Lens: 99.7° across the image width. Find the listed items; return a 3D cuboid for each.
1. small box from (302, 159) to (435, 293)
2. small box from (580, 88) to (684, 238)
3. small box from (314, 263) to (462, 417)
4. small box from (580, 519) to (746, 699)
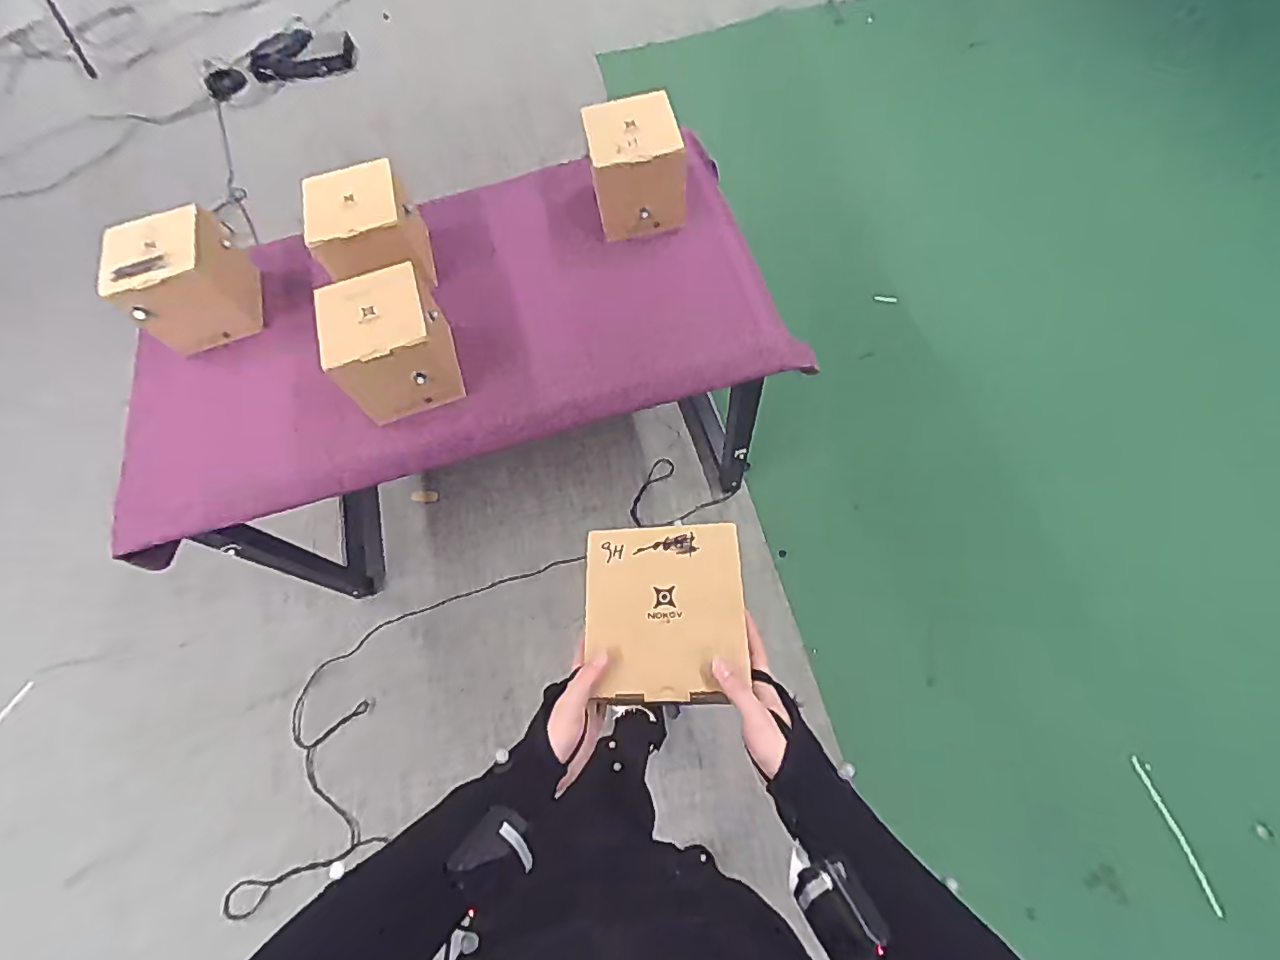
[{"bbox_3d":[-0.514,-0.465,1.035,0.168,0.176,0.179,-17,67,-3],"label":"small box"},{"bbox_3d":[-0.012,-0.606,1.046,0.168,0.176,0.179,-12,67,1],"label":"small box"},{"bbox_3d":[-0.421,-0.227,0.922,0.168,0.176,0.179,-19,65,-4],"label":"small box"},{"bbox_3d":[0.032,0.158,0.625,0.168,0.176,0.179,-4,66,6],"label":"small box"}]
